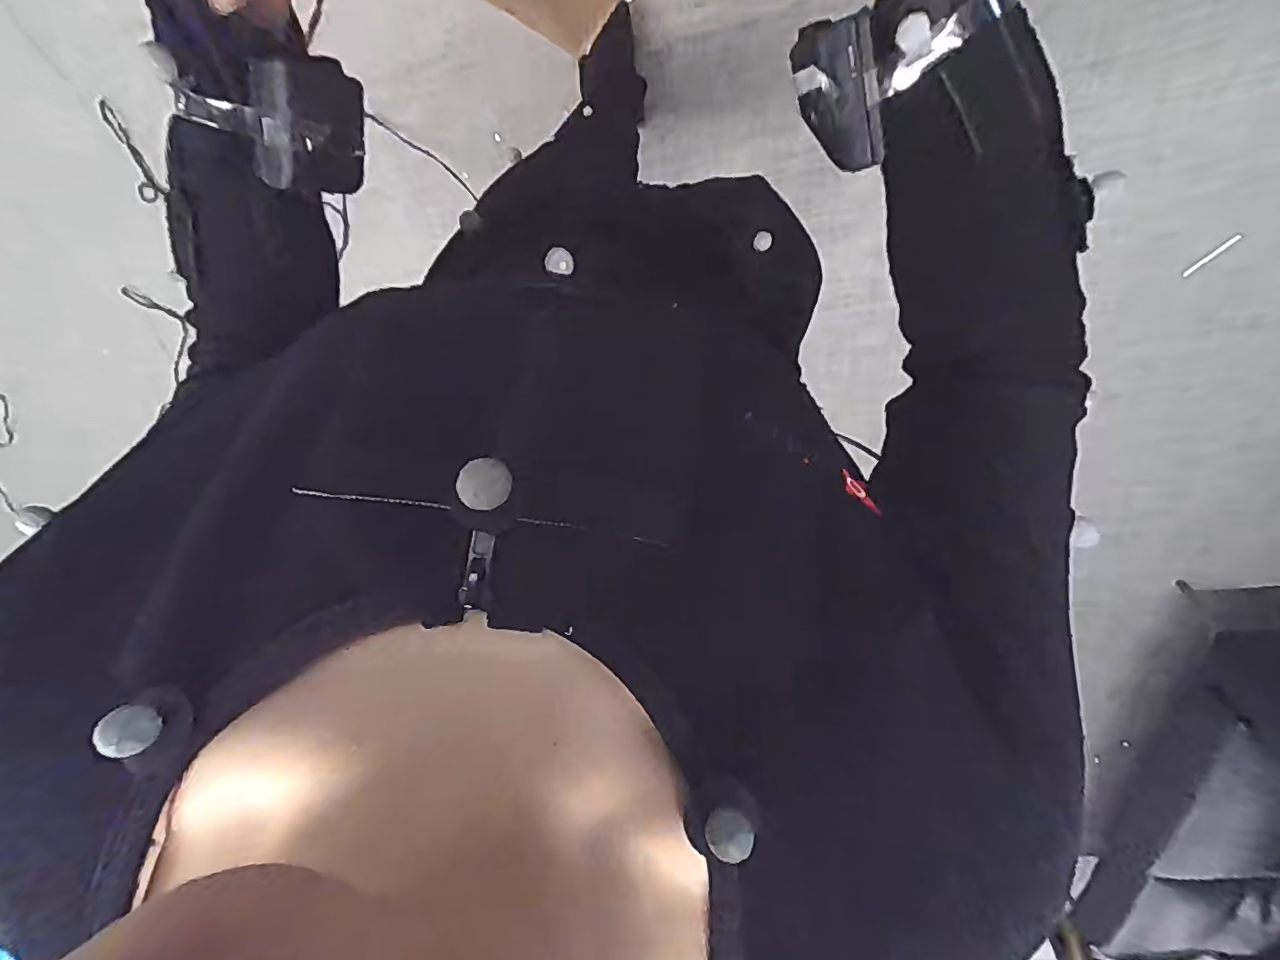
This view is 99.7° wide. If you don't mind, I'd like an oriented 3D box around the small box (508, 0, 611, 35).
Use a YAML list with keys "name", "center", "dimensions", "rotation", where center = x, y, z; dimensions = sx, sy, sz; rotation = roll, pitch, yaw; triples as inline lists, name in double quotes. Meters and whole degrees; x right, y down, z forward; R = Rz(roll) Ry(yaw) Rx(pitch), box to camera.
- name: "small box"
  center: [-0.046, -0.288, 0.165]
  dimensions: [0.168, 0.176, 0.179]
  rotation: [39, 119, -16]
